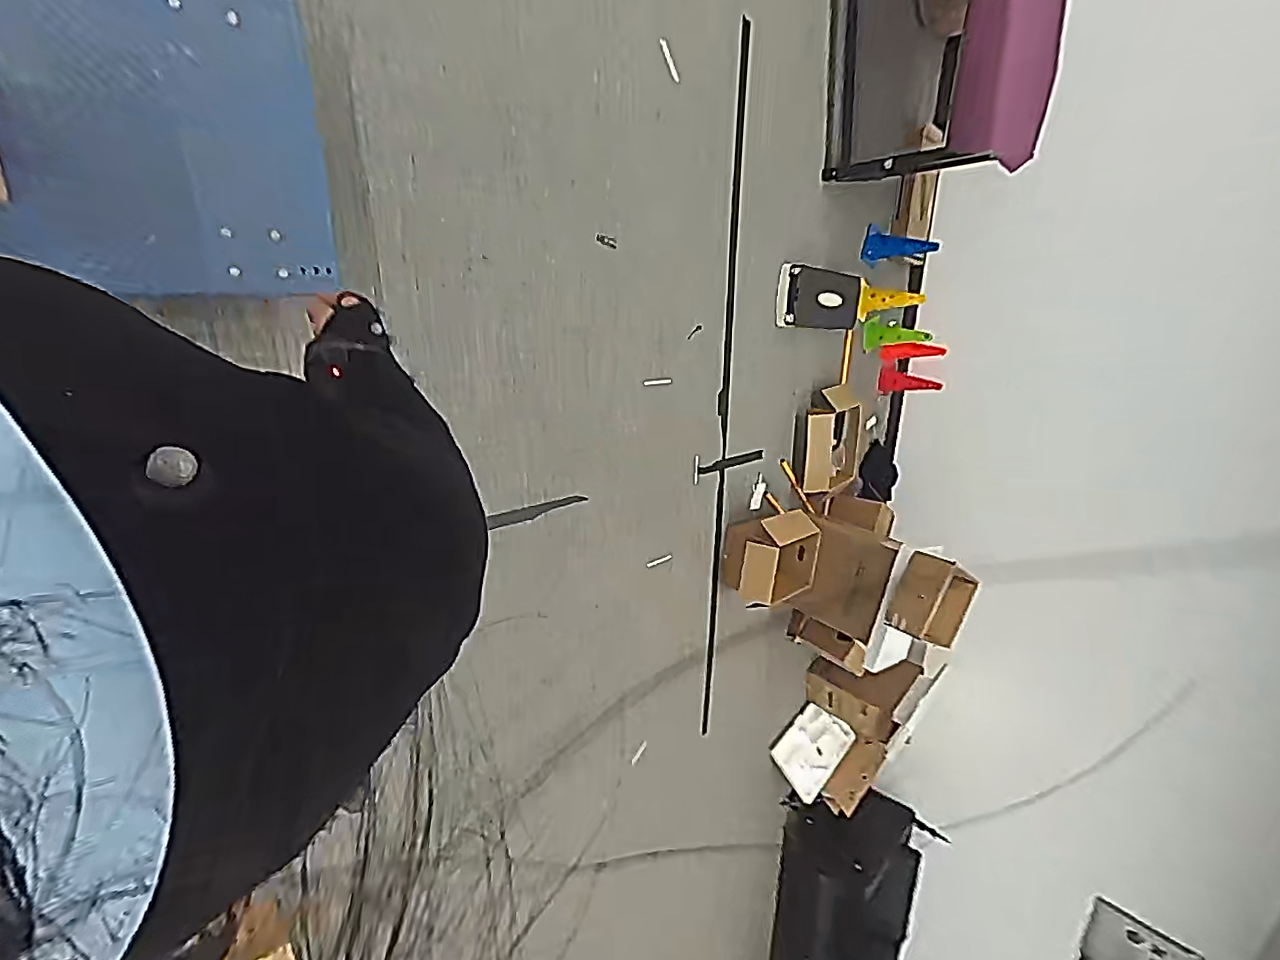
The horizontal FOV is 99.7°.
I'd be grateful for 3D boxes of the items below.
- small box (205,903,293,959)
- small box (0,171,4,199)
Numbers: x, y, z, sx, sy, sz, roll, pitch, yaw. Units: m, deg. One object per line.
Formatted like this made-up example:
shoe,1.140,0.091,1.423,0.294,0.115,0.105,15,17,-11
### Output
small box,-1.049,1.315,1.463,0.168,0.176,0.179,-17,114,-42
small box,-0.960,-0.476,0.689,0.168,0.176,0.179,-12,112,-42
